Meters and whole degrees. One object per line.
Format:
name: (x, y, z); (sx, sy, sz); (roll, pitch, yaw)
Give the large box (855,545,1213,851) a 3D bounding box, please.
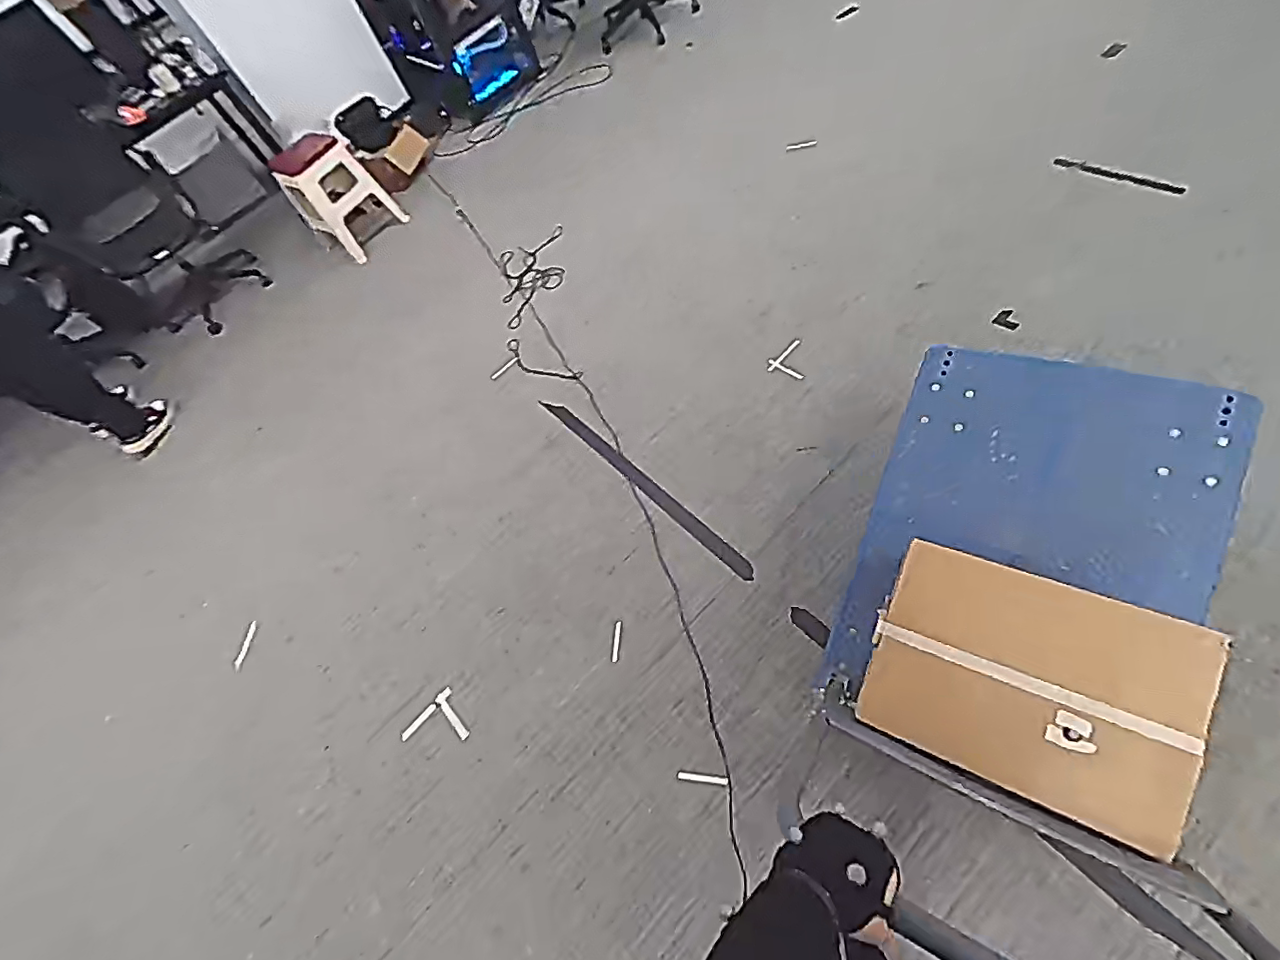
large box: (0.630, 0.339, 0.955); (0.408, 0.320, 0.320); (19, 85, 26)
